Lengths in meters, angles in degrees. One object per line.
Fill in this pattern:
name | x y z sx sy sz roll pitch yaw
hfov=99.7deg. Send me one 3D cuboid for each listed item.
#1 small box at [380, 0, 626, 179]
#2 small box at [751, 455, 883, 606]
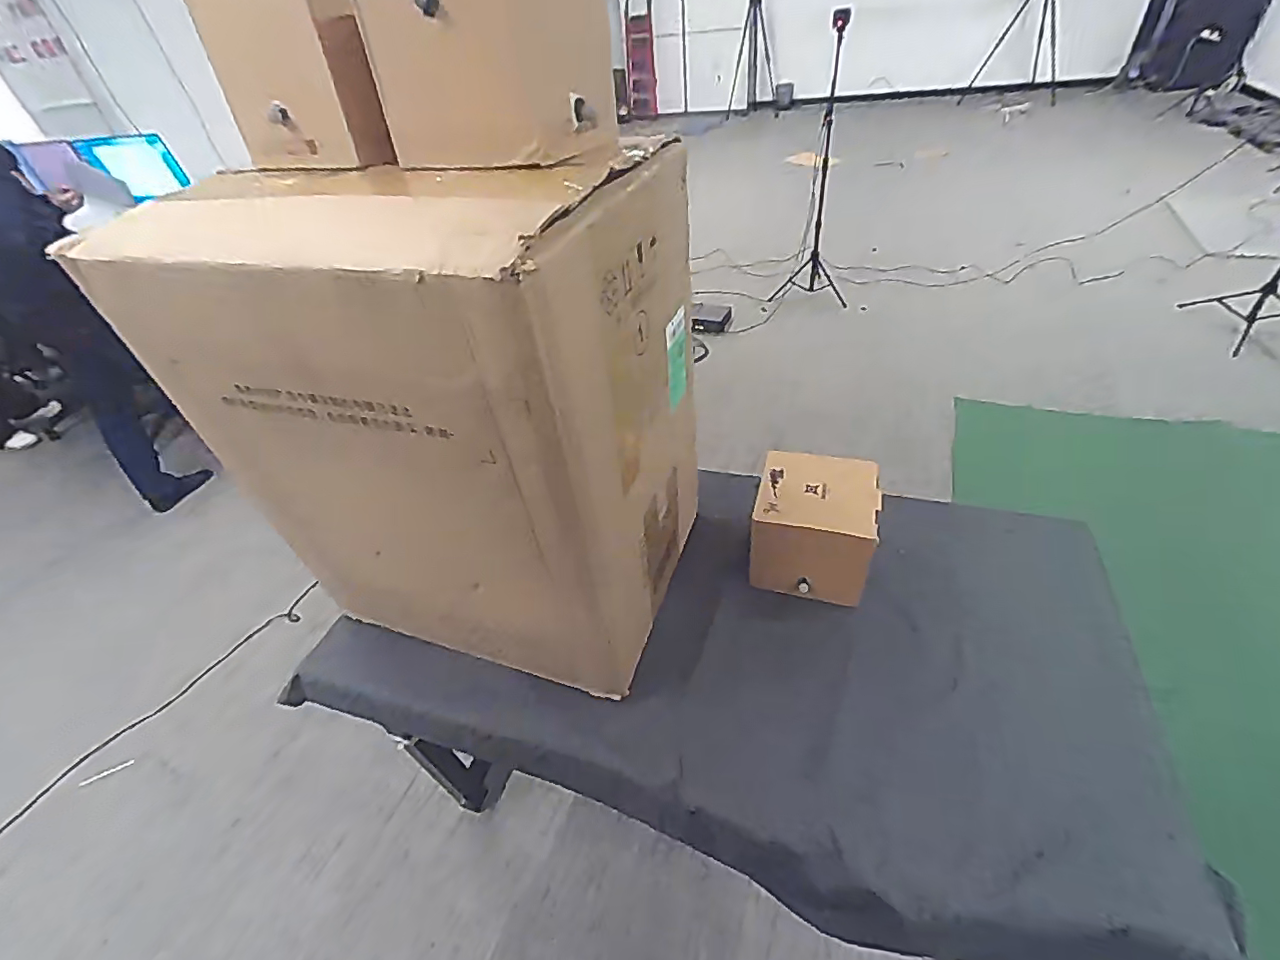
small box | -0.125 -0.407 0.540 0.179 0.176 0.168 11 41 18
small box | 0.287 0.084 0.889 0.179 0.176 0.168 9 44 18
